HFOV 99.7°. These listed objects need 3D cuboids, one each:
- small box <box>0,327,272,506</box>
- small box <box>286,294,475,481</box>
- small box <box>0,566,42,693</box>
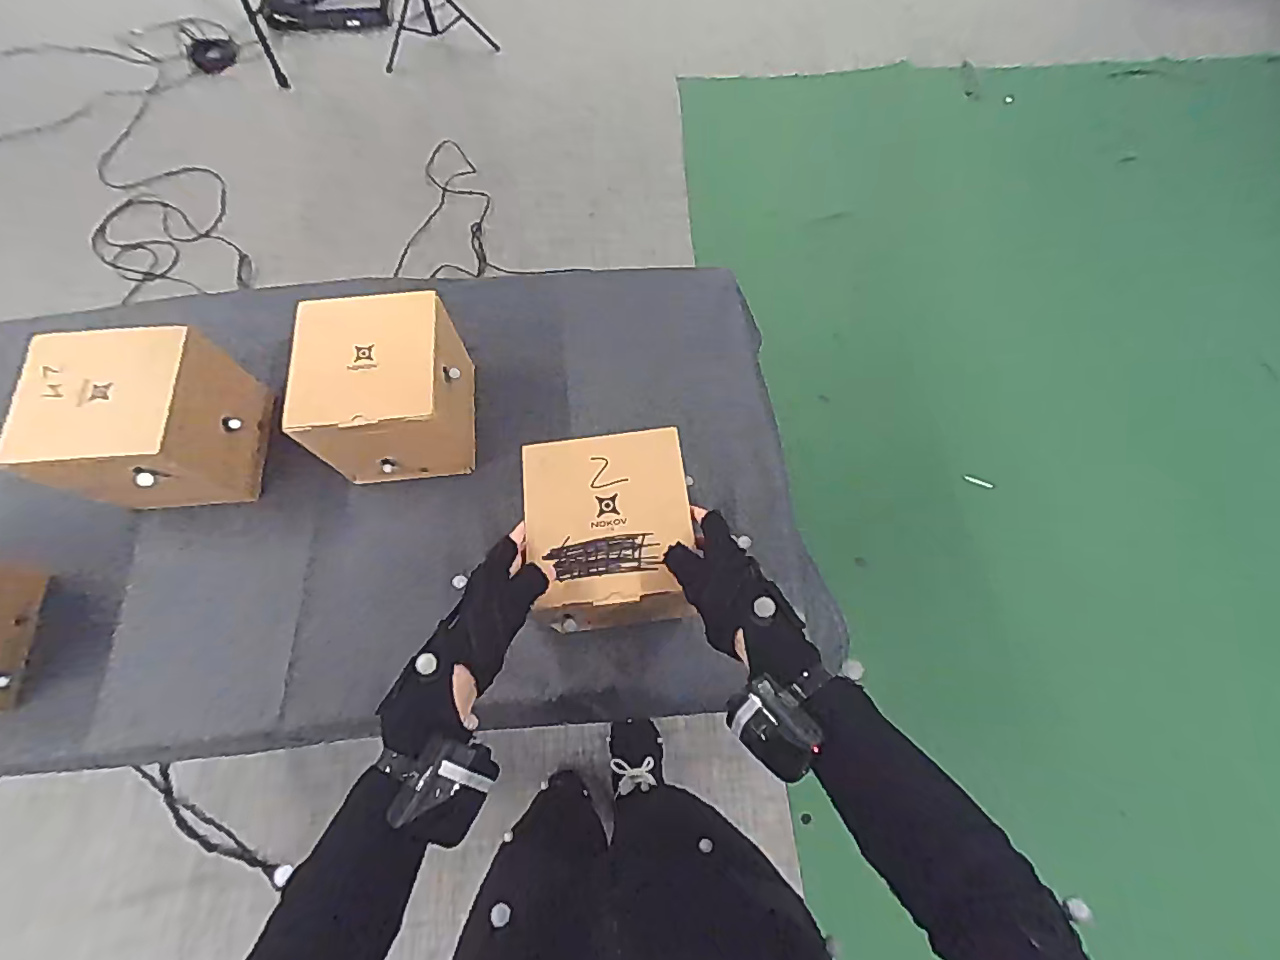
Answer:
[{"bbox_3d":[-0.604,-0.071,0.677,0.179,0.176,0.168,-4,70,-3],"label":"small box"},{"bbox_3d":[-0.318,-0.113,0.701,0.168,0.176,0.179,-5,70,-3],"label":"small box"},{"bbox_3d":[-0.829,0.172,0.582,0.179,0.176,0.168,-6,69,-3],"label":"small box"}]
